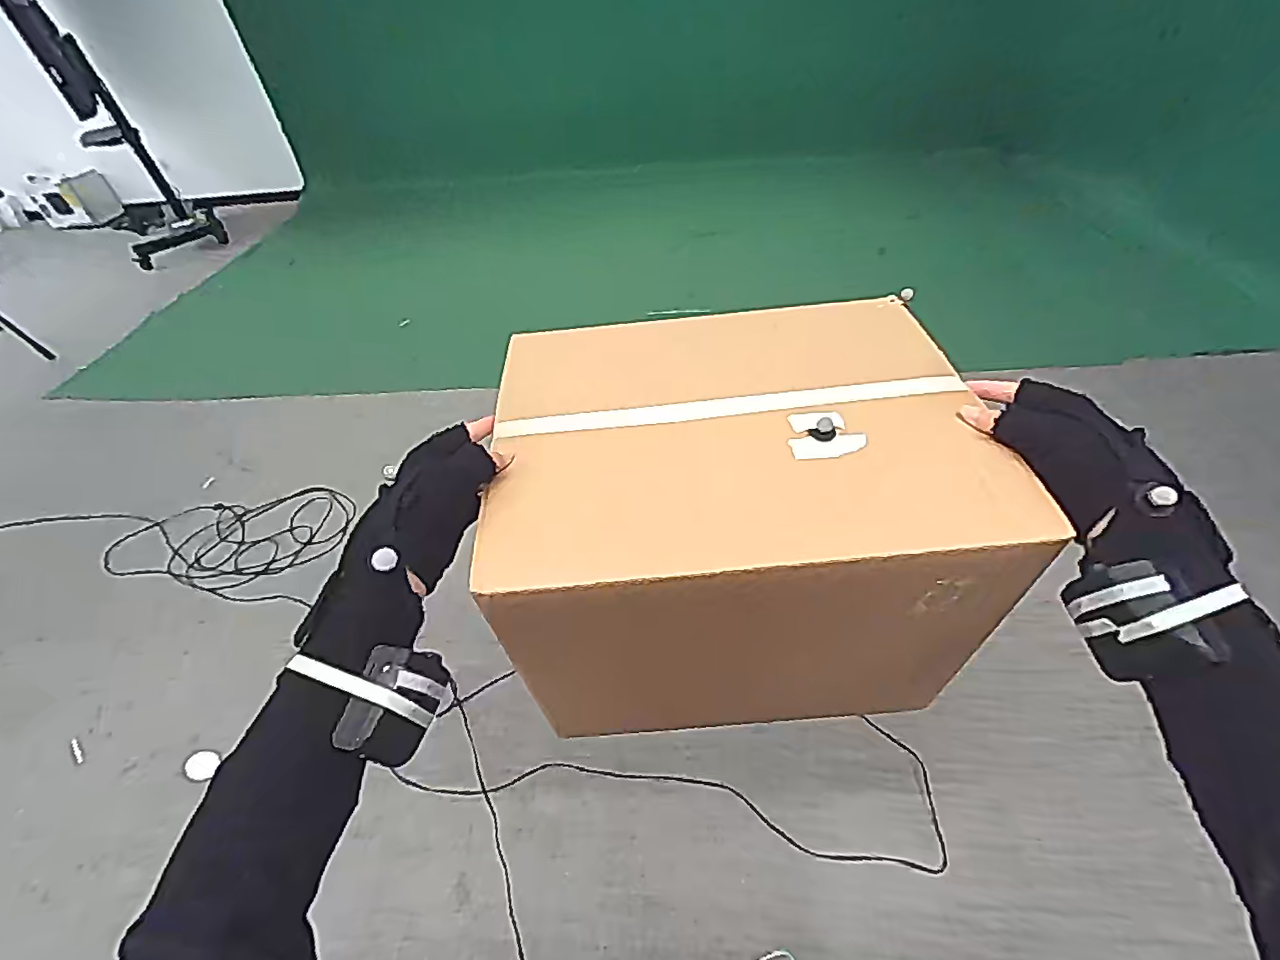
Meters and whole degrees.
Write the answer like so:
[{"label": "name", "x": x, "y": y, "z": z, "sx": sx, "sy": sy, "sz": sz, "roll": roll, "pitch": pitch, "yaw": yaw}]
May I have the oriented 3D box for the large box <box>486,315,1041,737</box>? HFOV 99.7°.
[{"label": "large box", "x": 0.085, "y": 0.053, "z": 0.586, "sx": 0.408, "sy": 0.320, "sz": 0.320, "roll": -5, "pitch": 47, "yaw": 0}]
